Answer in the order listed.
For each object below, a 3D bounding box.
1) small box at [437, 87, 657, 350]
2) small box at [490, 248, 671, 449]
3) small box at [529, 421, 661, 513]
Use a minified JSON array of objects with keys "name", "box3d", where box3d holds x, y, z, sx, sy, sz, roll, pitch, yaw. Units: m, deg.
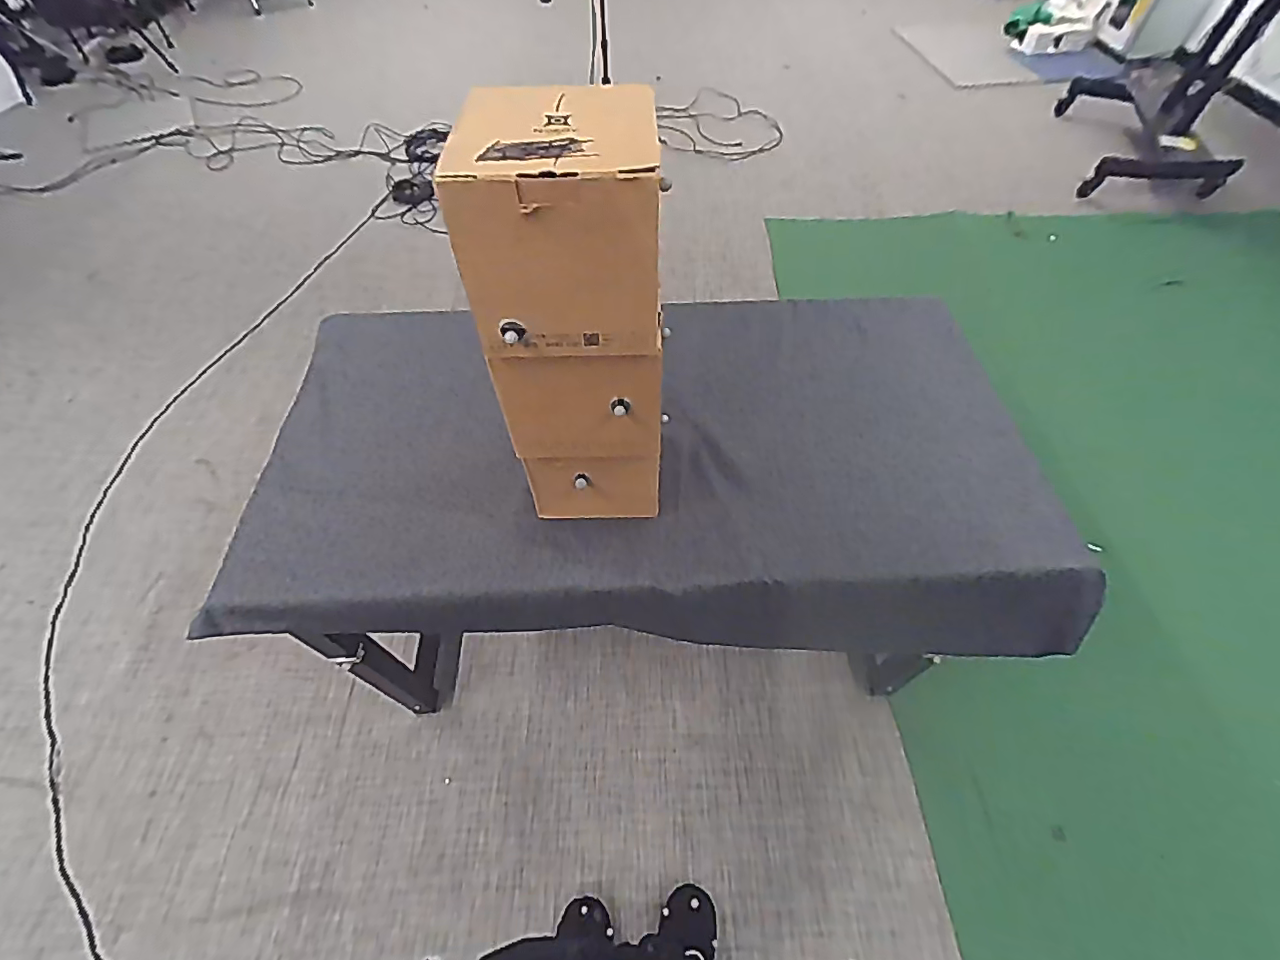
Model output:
[{"name":"small box","box3d":[-0.068,-0.237,0.507,0.168,0.176,0.179,-1,53,0]},{"name":"small box","box3d":[-0.063,-0.151,0.627,0.179,0.176,0.168,-4,55,-3]},{"name":"small box","box3d":[-0.063,-0.063,0.787,0.179,0.176,0.168,-3,54,-2]}]
